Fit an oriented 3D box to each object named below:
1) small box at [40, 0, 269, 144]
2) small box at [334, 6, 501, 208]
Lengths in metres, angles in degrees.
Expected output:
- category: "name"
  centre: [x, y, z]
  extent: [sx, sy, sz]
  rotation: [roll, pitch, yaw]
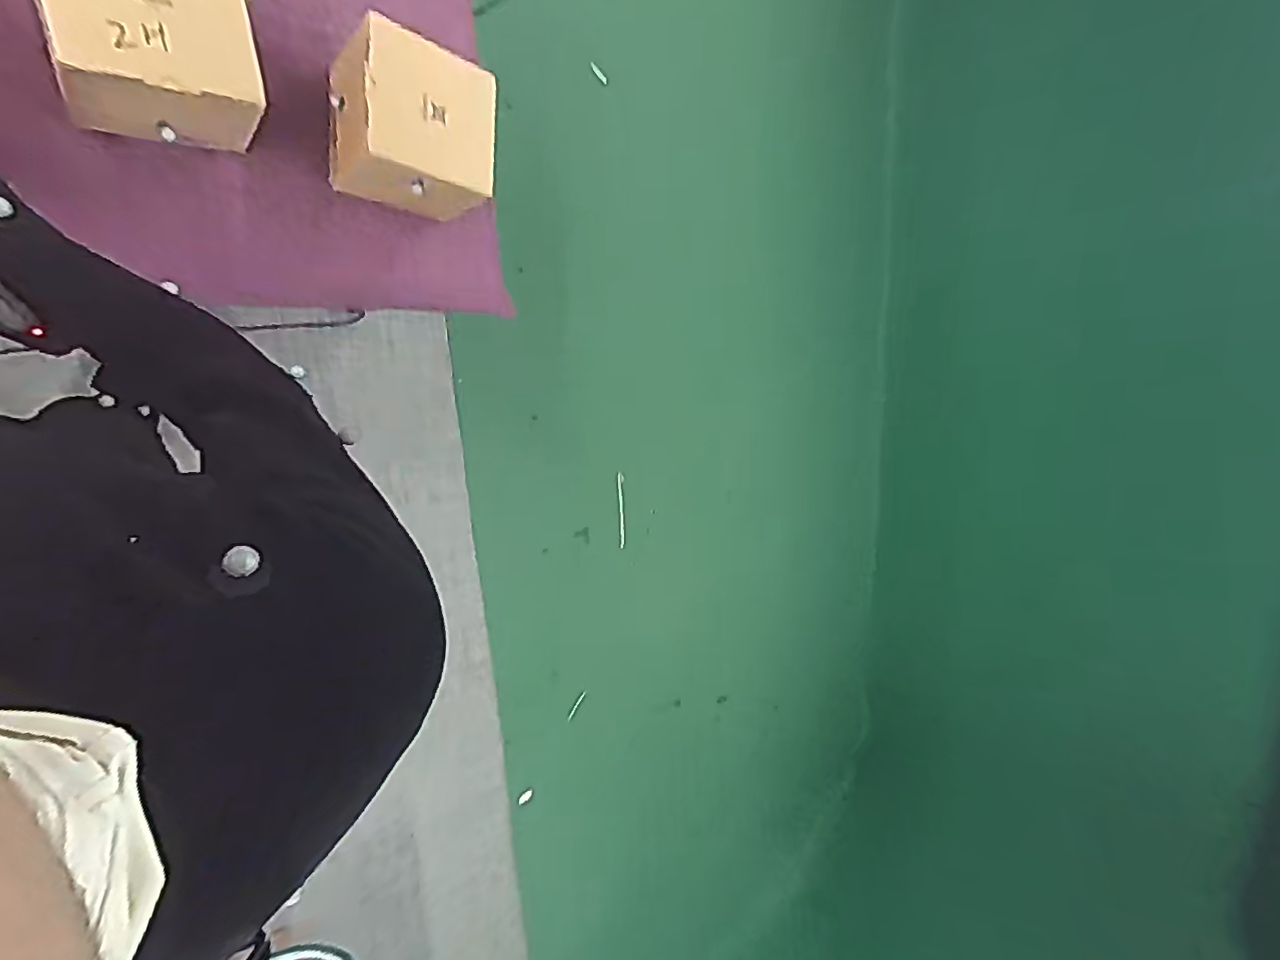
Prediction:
- category: "small box"
  centre: [-0.529, -0.498, 0.583]
  extent: [0.168, 0.176, 0.179]
  rotation: [-17, 109, -39]
- category: "small box"
  centre: [-0.321, -0.511, 0.778]
  extent: [0.179, 0.176, 0.168]
  rotation: [-2, 100, -41]
